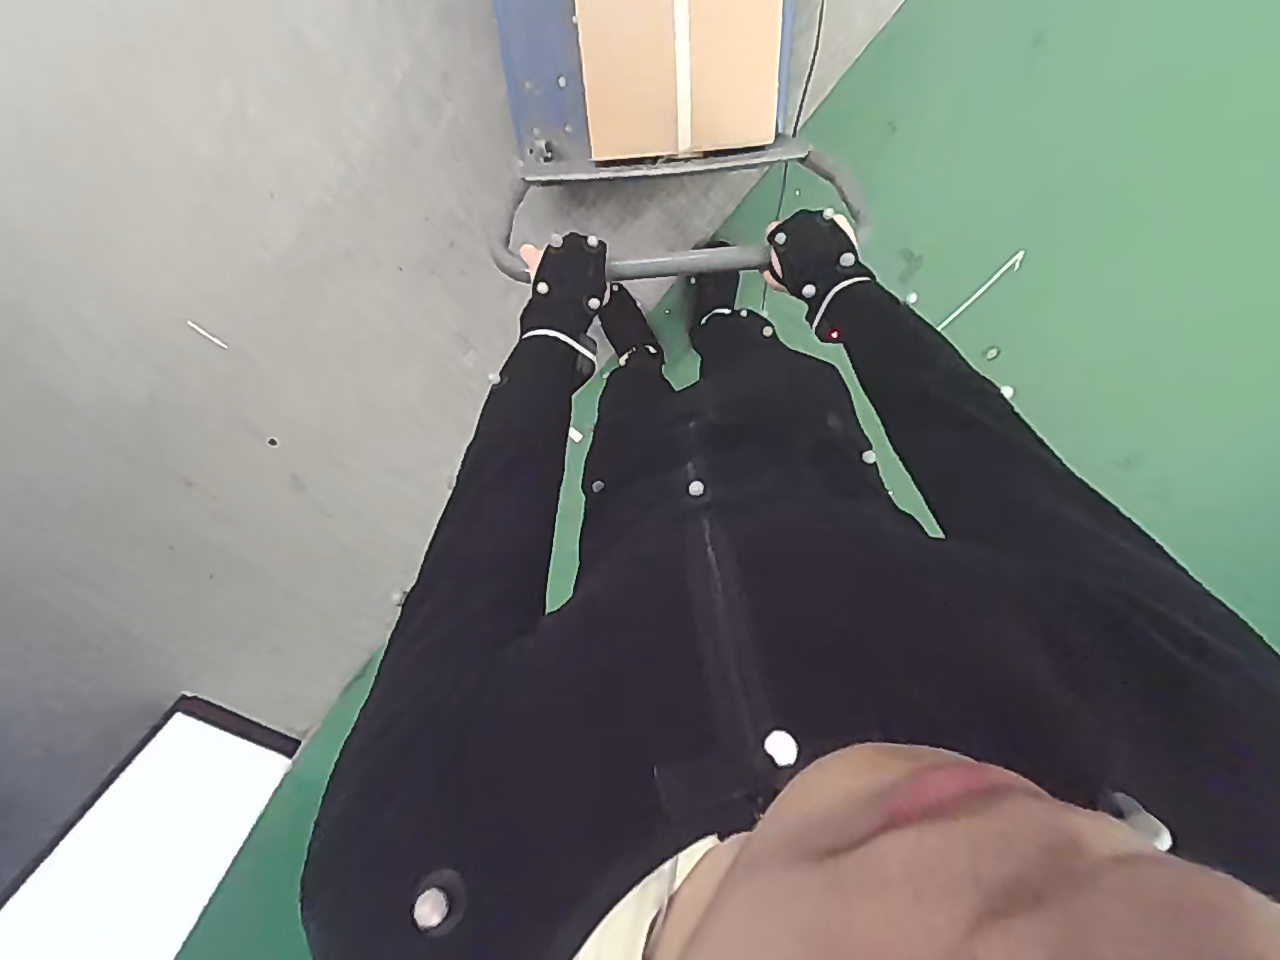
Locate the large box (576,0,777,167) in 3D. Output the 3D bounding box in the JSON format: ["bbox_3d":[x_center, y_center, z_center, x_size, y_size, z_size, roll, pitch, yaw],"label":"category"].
[{"bbox_3d":[0.057,-0.805,0.956,0.320,0.320,0.408,-4,124,1],"label":"large box"}]
